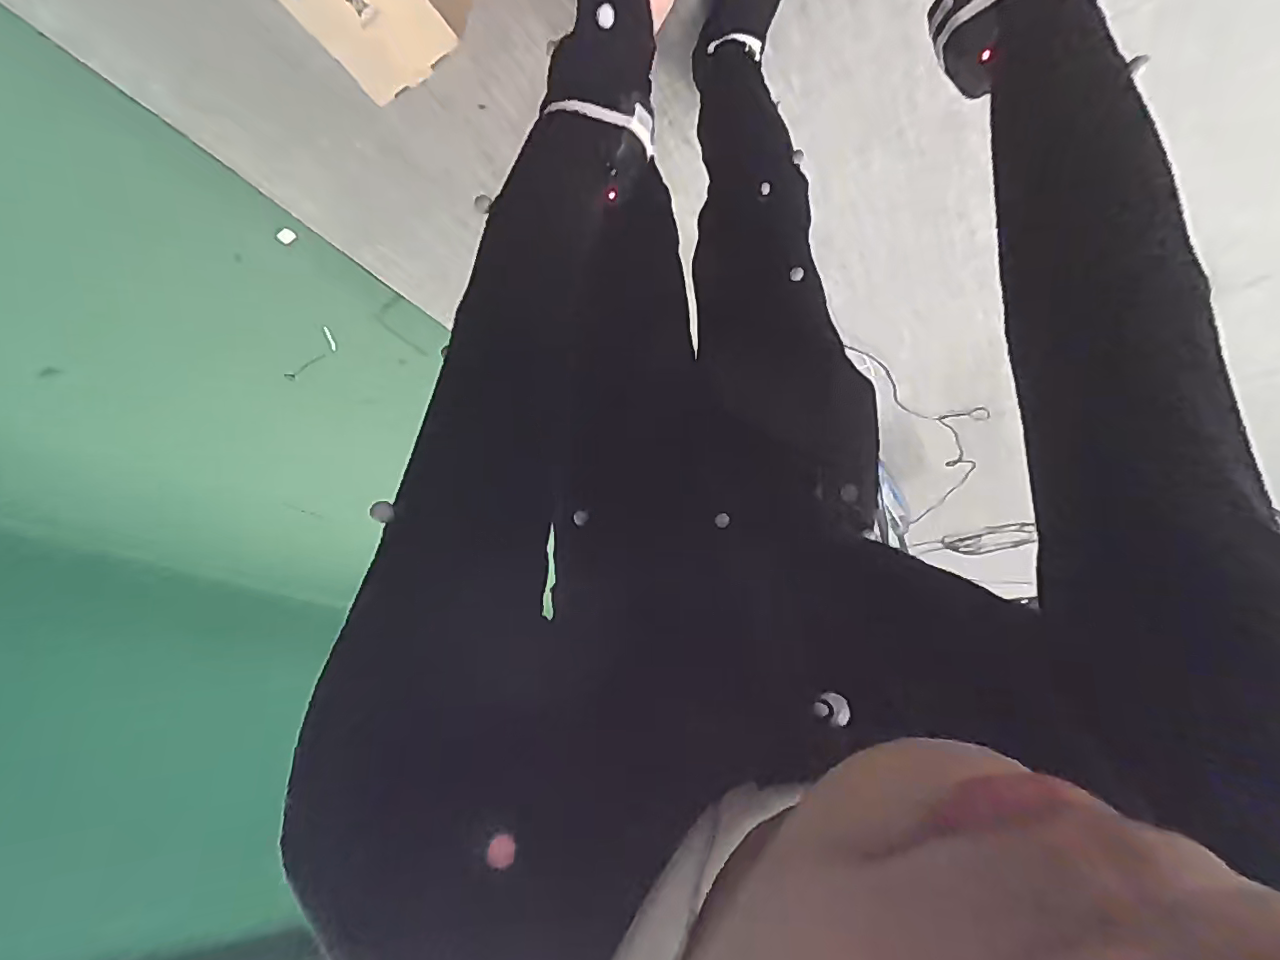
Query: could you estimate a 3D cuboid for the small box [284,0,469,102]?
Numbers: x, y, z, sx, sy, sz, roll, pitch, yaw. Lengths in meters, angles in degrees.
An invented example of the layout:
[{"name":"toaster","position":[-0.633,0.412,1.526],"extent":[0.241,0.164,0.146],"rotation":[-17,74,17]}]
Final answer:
[{"name":"small box","position":[-0.342,-0.662,0.708],"extent":[0.168,0.176,0.179],"rotation":[-14,151,26]}]
